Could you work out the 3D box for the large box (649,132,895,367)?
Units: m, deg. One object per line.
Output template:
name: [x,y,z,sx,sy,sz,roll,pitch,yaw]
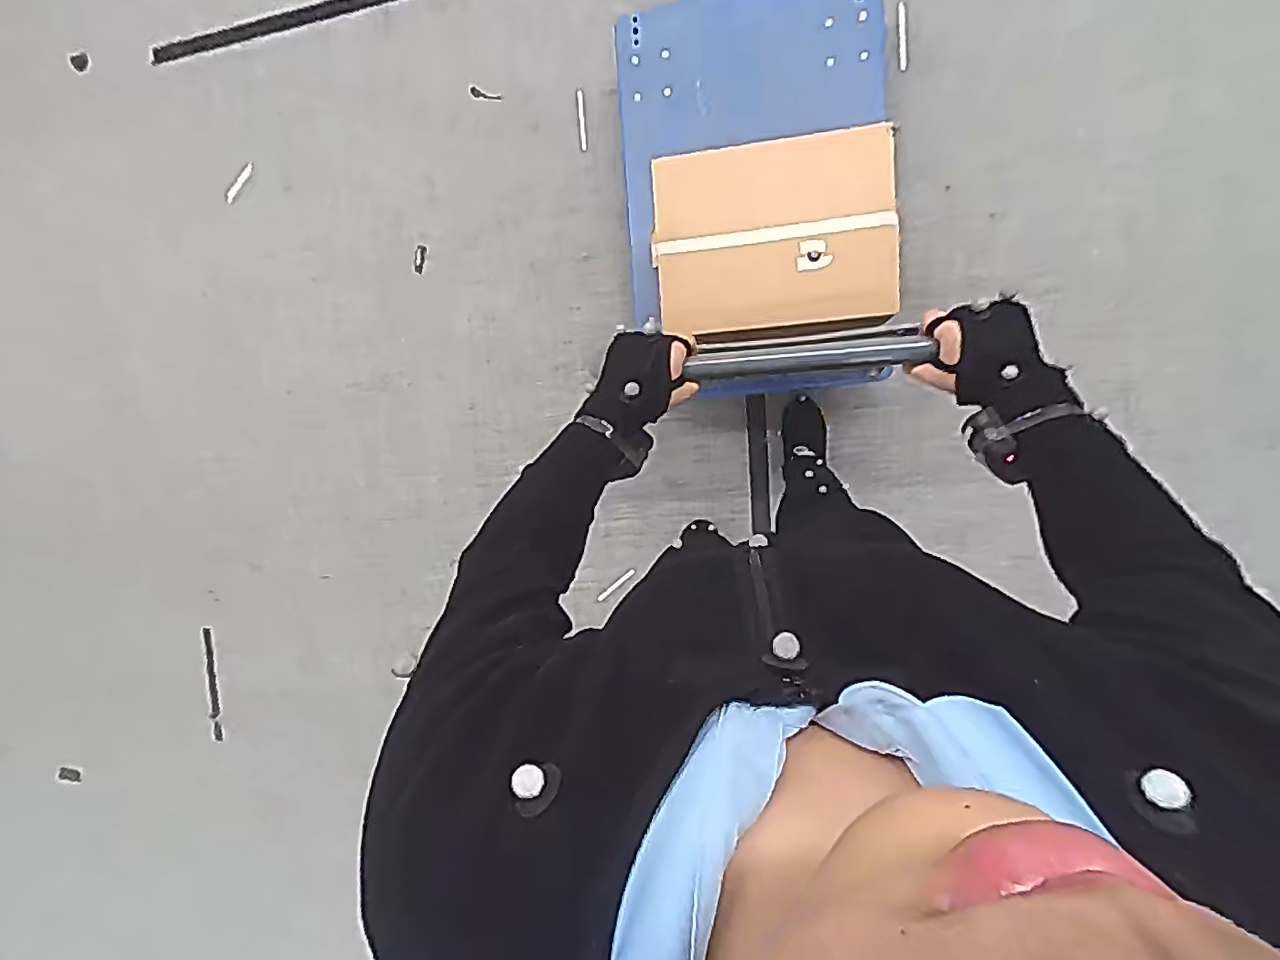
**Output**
large box: [0.245,-0.418,1.078,0.408,0.320,0.320,-4,95,9]
